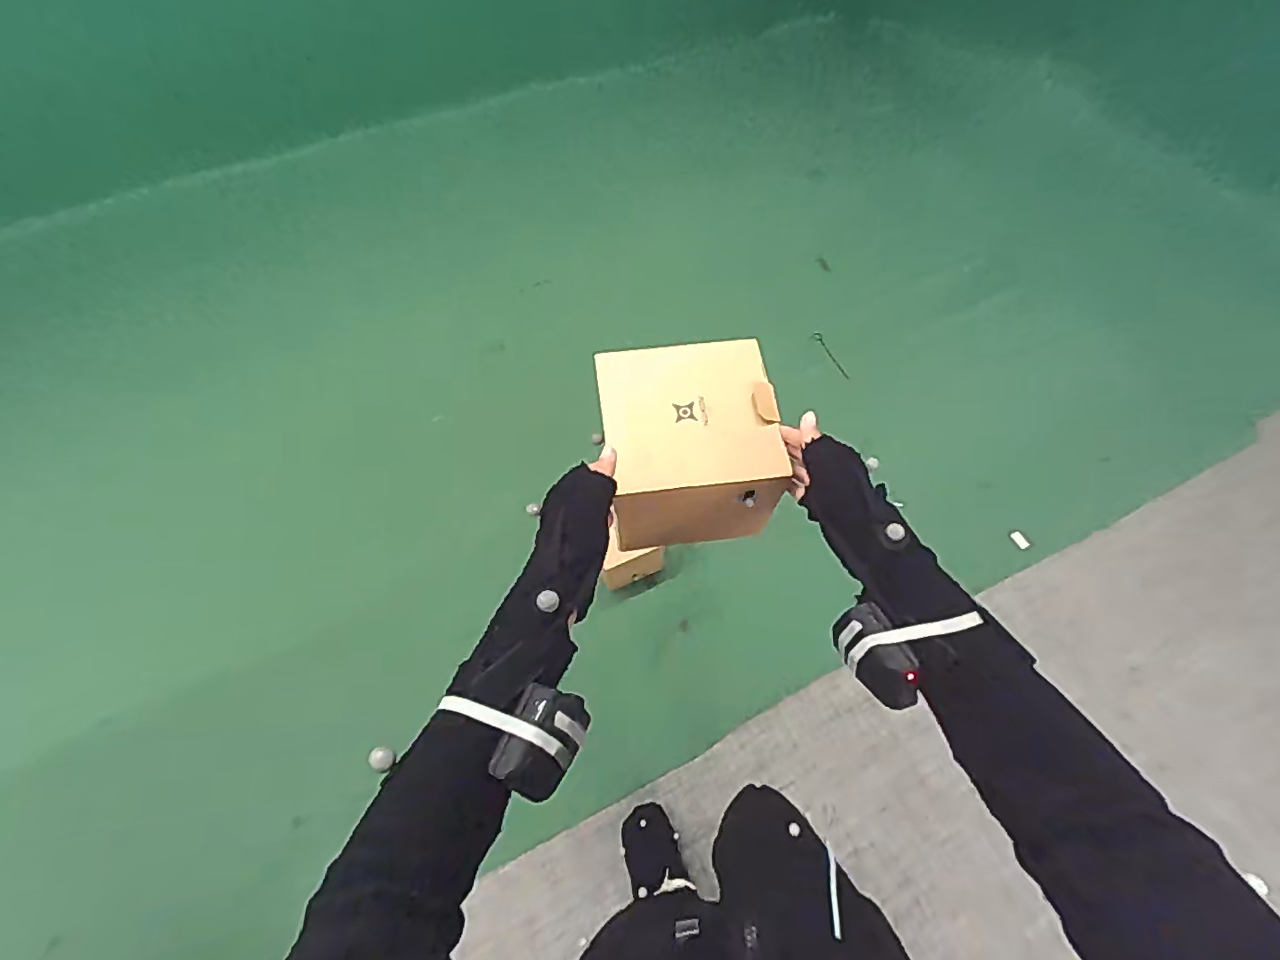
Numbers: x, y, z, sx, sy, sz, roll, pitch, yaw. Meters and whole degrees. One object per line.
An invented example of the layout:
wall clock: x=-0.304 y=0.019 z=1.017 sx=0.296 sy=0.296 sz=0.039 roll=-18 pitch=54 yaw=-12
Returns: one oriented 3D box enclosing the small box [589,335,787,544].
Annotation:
small box: x=0.043 y=-0.037 z=0.609 sx=0.179 sy=0.176 sz=0.168 roll=-7 pitch=65 yaw=-4
